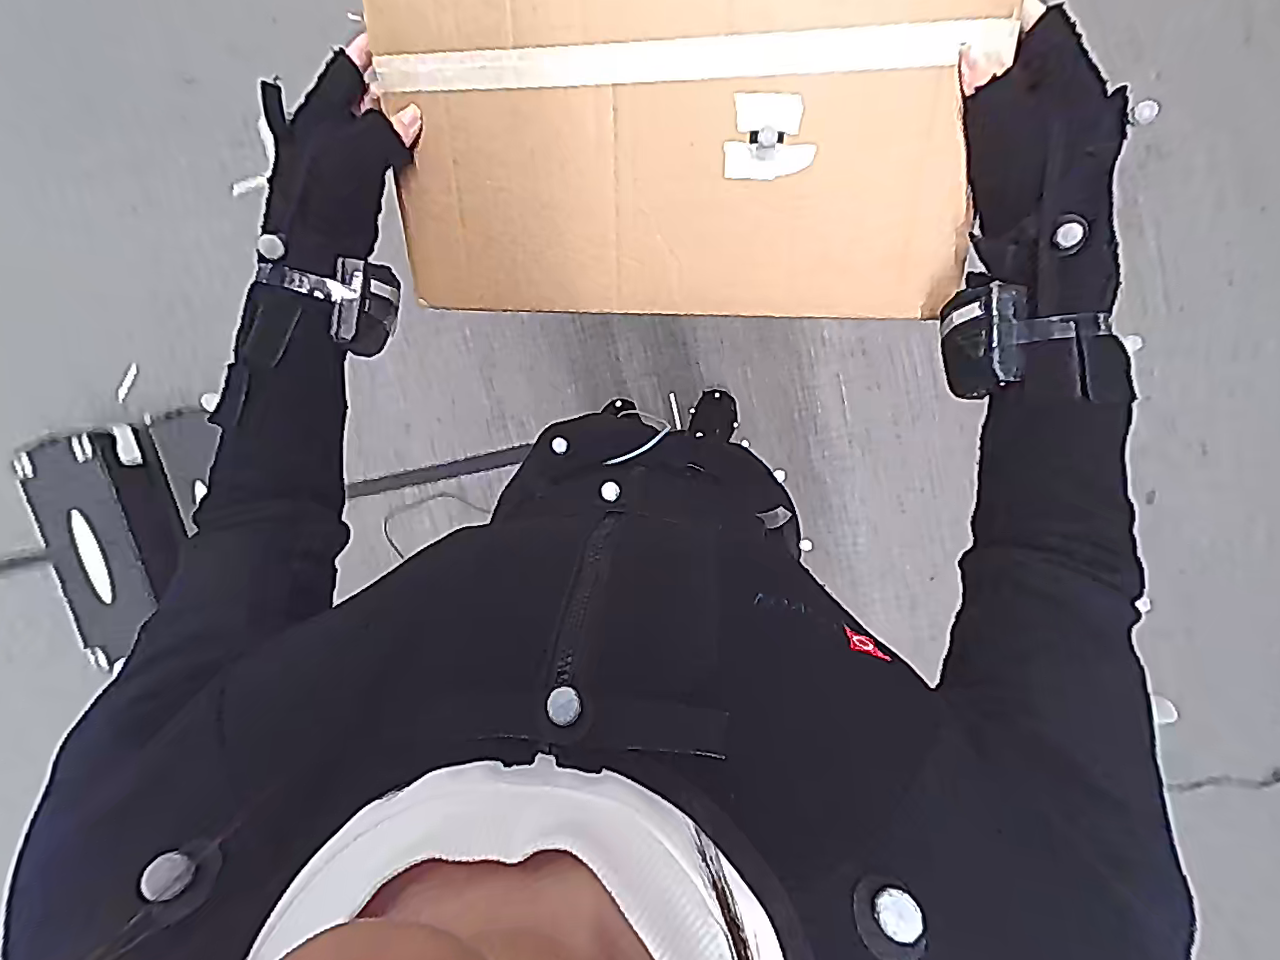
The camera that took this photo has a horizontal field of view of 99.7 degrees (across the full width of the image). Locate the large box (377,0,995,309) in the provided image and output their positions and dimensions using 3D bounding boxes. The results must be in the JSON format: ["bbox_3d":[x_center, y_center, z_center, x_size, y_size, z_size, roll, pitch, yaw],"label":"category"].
[{"bbox_3d":[0.038,-0.339,0.491,0.408,0.320,0.320,2,116,9],"label":"large box"}]

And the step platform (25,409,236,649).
[{"bbox_3d":[-1.469,0.142,1.571,0.286,0.204,0.684,-13,96,9],"label":"step platform"}]
